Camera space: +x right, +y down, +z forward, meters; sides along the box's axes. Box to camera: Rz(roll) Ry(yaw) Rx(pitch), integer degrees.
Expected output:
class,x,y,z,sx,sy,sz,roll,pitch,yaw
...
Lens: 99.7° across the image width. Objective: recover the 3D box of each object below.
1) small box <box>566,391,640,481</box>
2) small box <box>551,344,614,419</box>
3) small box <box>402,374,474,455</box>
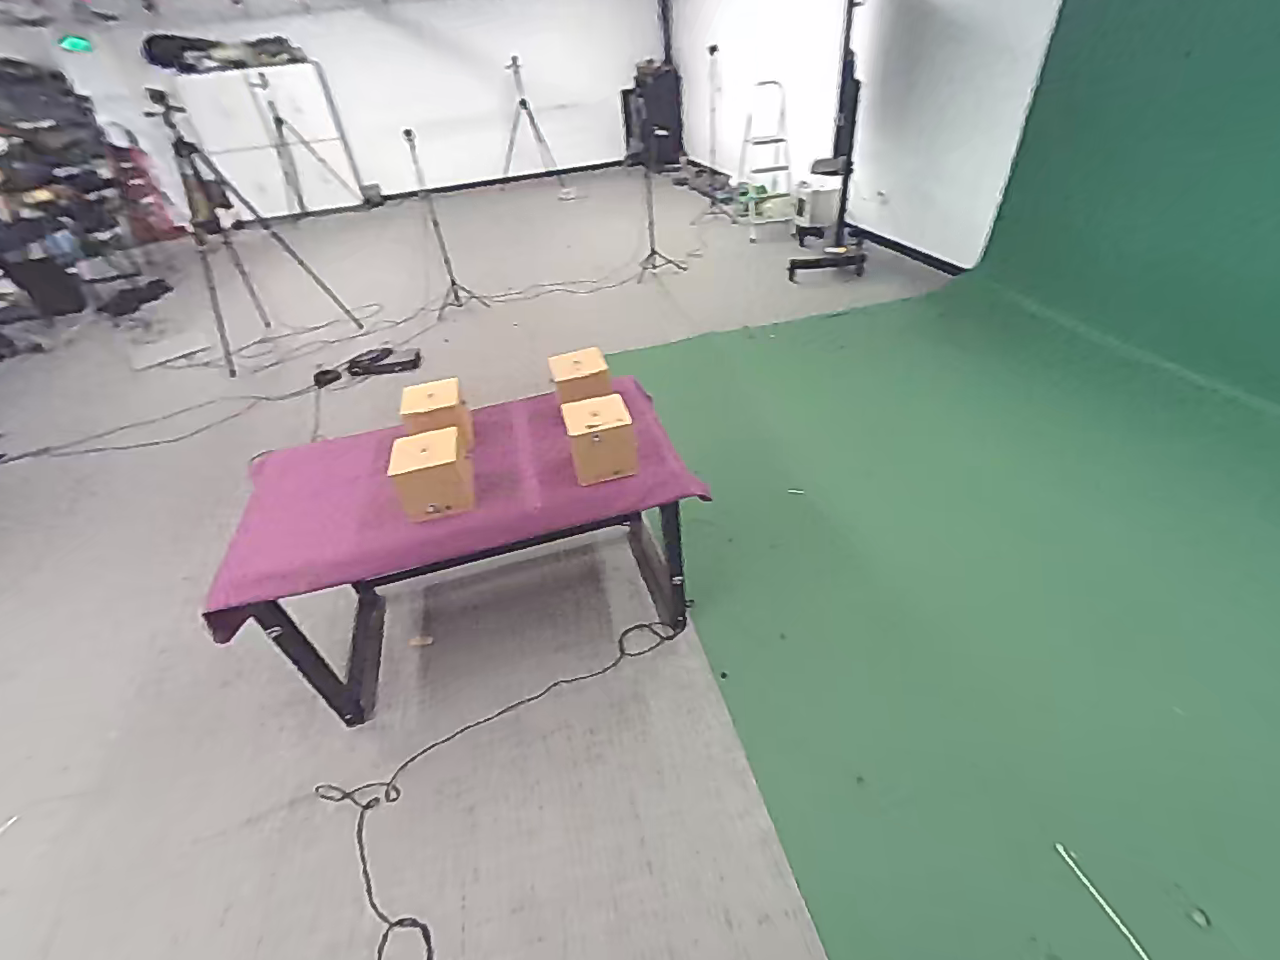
class,x,y,z,sx,sy,sz,roll,pitch,yaw
small box,-0.104,-0.122,1.498,0.168,0.176,0.179,-13,37,-7
small box,-0.182,-0.313,1.742,0.168,0.176,0.179,-16,40,-8
small box,-0.617,-0.202,1.670,0.168,0.176,0.179,-13,41,-9
